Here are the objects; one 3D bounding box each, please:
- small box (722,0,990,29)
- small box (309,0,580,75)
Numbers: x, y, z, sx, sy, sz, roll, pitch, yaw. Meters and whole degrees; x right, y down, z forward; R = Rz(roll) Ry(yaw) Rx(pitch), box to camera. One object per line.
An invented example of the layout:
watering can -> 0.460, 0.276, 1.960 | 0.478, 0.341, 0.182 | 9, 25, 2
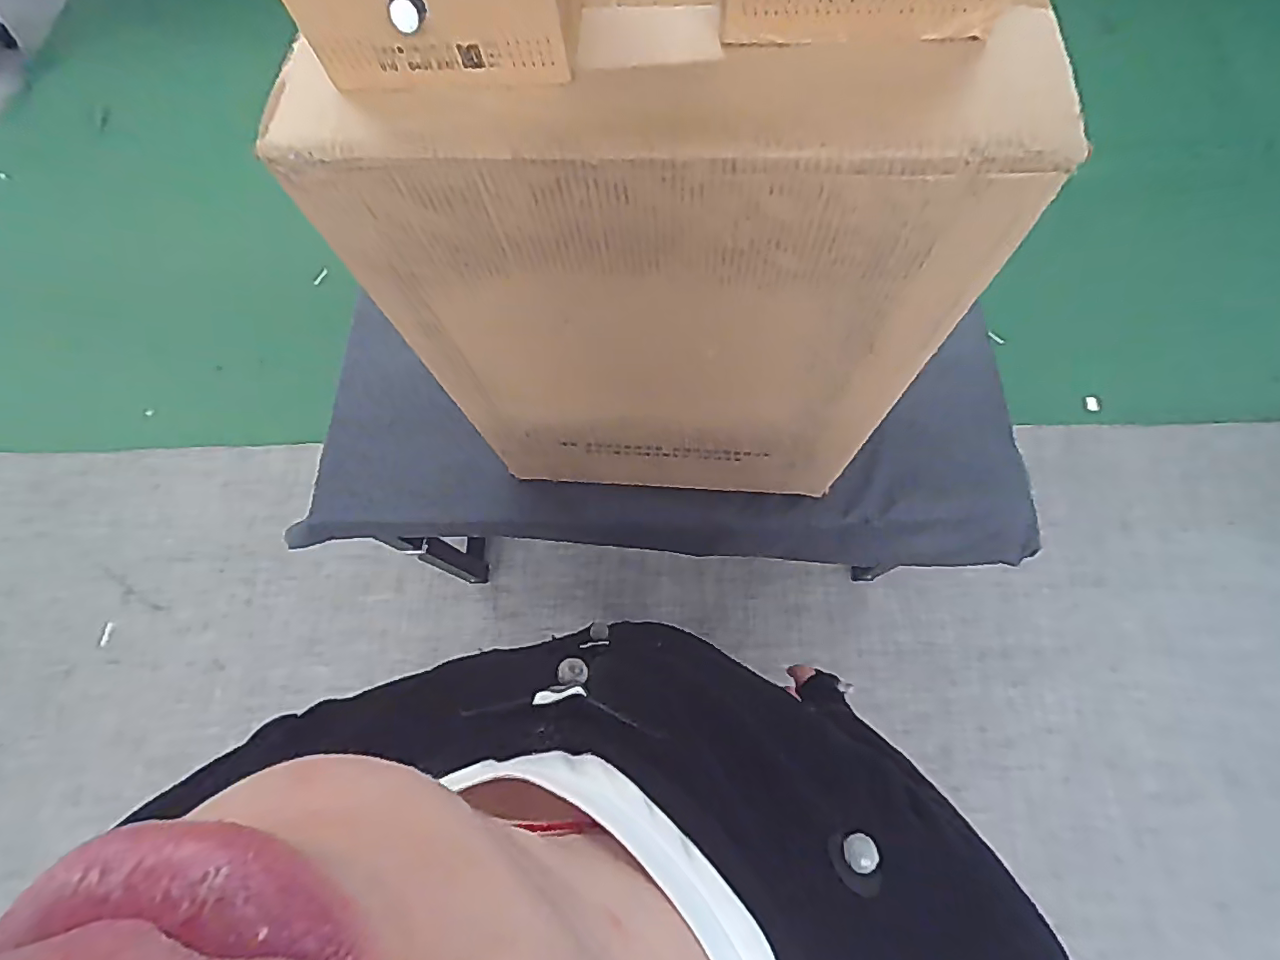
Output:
small box -> 0.139, -0.392, 0.297 | 0.179, 0.176, 0.168 | 3, 73, 2
small box -> -0.125, -0.377, 0.308 | 0.168, 0.176, 0.179 | 3, 73, 5
